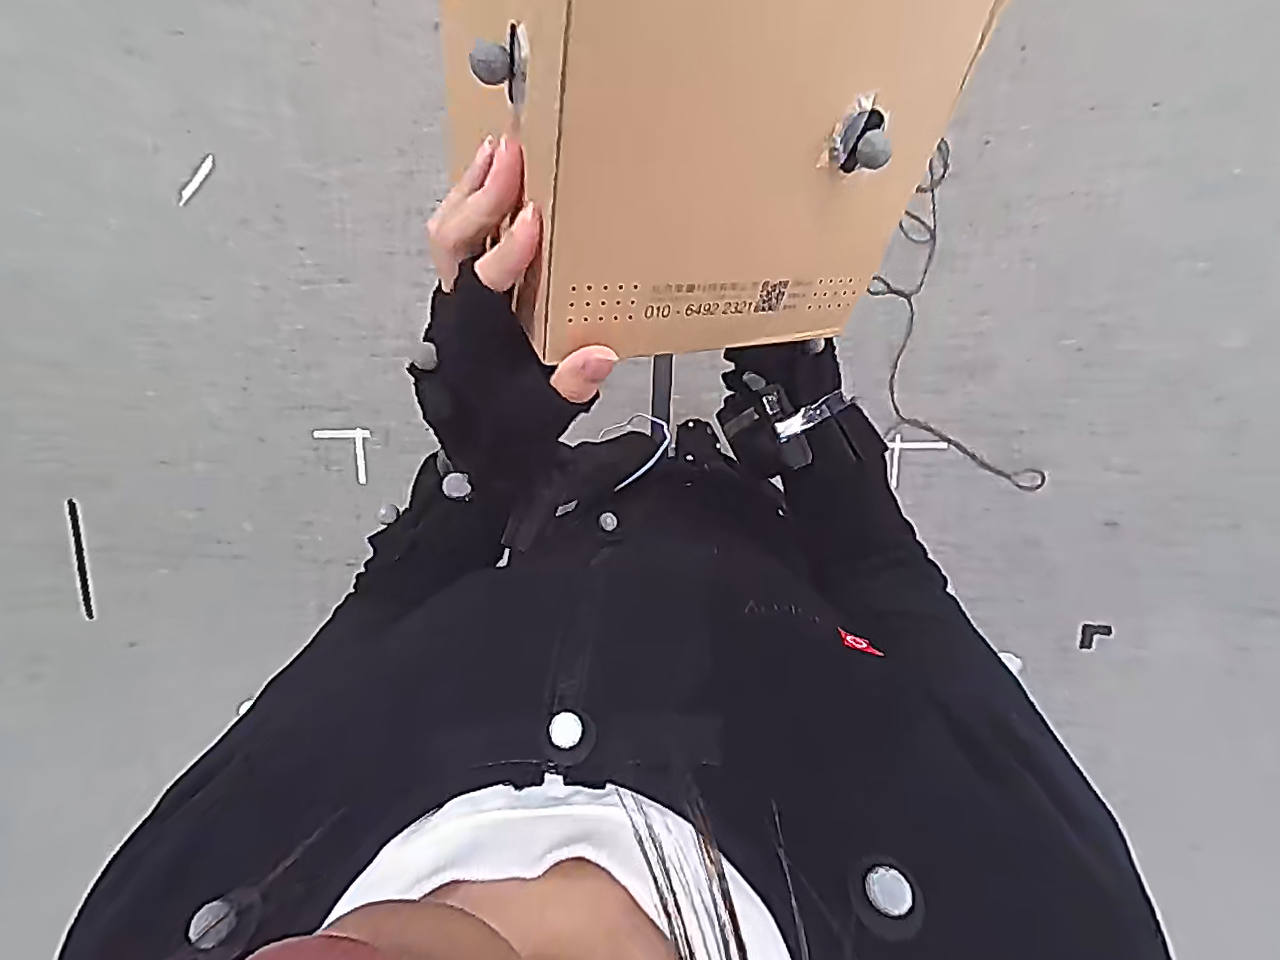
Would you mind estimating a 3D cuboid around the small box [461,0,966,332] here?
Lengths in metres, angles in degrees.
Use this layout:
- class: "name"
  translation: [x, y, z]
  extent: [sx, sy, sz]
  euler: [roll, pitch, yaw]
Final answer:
- class: "small box"
  translation: [0.015, -0.184, 0.264]
  extent: [0.168, 0.179, 0.176]
  euler: [-11, 139, -25]
